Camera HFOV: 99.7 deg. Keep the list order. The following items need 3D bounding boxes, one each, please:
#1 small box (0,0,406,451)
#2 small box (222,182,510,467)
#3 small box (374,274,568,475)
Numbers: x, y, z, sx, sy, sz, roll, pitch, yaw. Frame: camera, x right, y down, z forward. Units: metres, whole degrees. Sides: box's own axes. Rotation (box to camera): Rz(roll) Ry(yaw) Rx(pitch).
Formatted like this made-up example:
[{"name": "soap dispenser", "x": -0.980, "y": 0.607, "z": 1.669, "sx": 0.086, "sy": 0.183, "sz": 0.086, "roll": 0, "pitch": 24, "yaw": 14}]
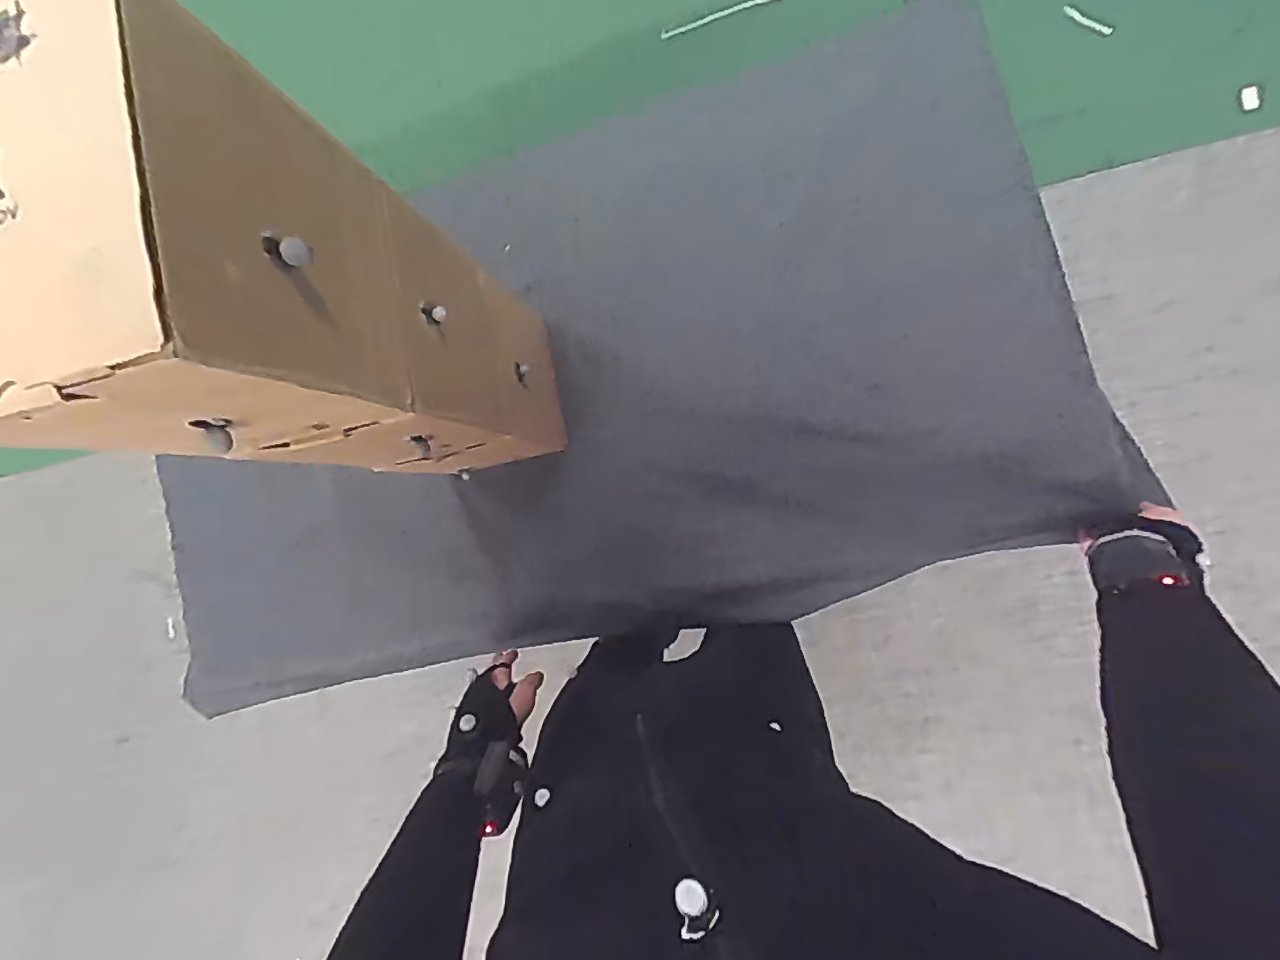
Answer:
[{"name": "small box", "x": -0.260, "y": -0.114, "z": 0.307, "sx": 0.168, "sy": 0.176, "sz": 0.179, "roll": -11, "pitch": 88, "yaw": 9}, {"name": "small box", "x": -0.229, "y": -0.109, "z": 0.468, "sx": 0.168, "sy": 0.176, "sz": 0.179, "roll": -11, "pitch": 86, "yaw": 10}, {"name": "small box", "x": -0.196, "y": -0.105, "z": 0.626, "sx": 0.168, "sy": 0.176, "sz": 0.179, "roll": -12, "pitch": 86, "yaw": 11}]
